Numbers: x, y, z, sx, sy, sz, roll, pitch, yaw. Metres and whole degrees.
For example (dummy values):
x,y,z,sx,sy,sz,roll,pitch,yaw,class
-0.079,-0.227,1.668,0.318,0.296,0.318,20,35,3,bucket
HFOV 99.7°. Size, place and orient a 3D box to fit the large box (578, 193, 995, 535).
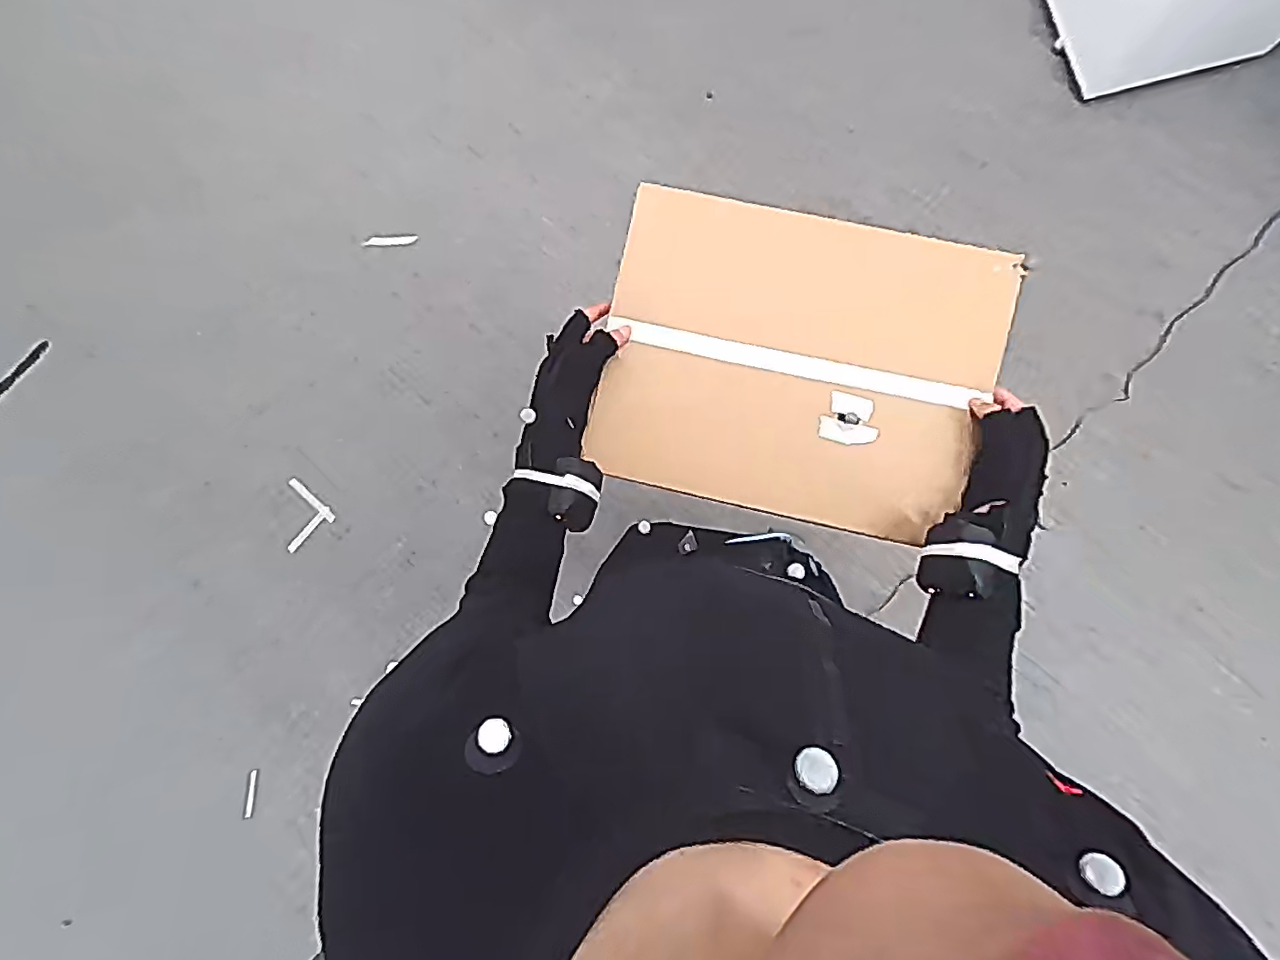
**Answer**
x,y,z,sx,sy,sz,roll,pitch,yaw,class
0.160,-0.129,0.732,0.408,0.320,0.320,13,92,3,large box
